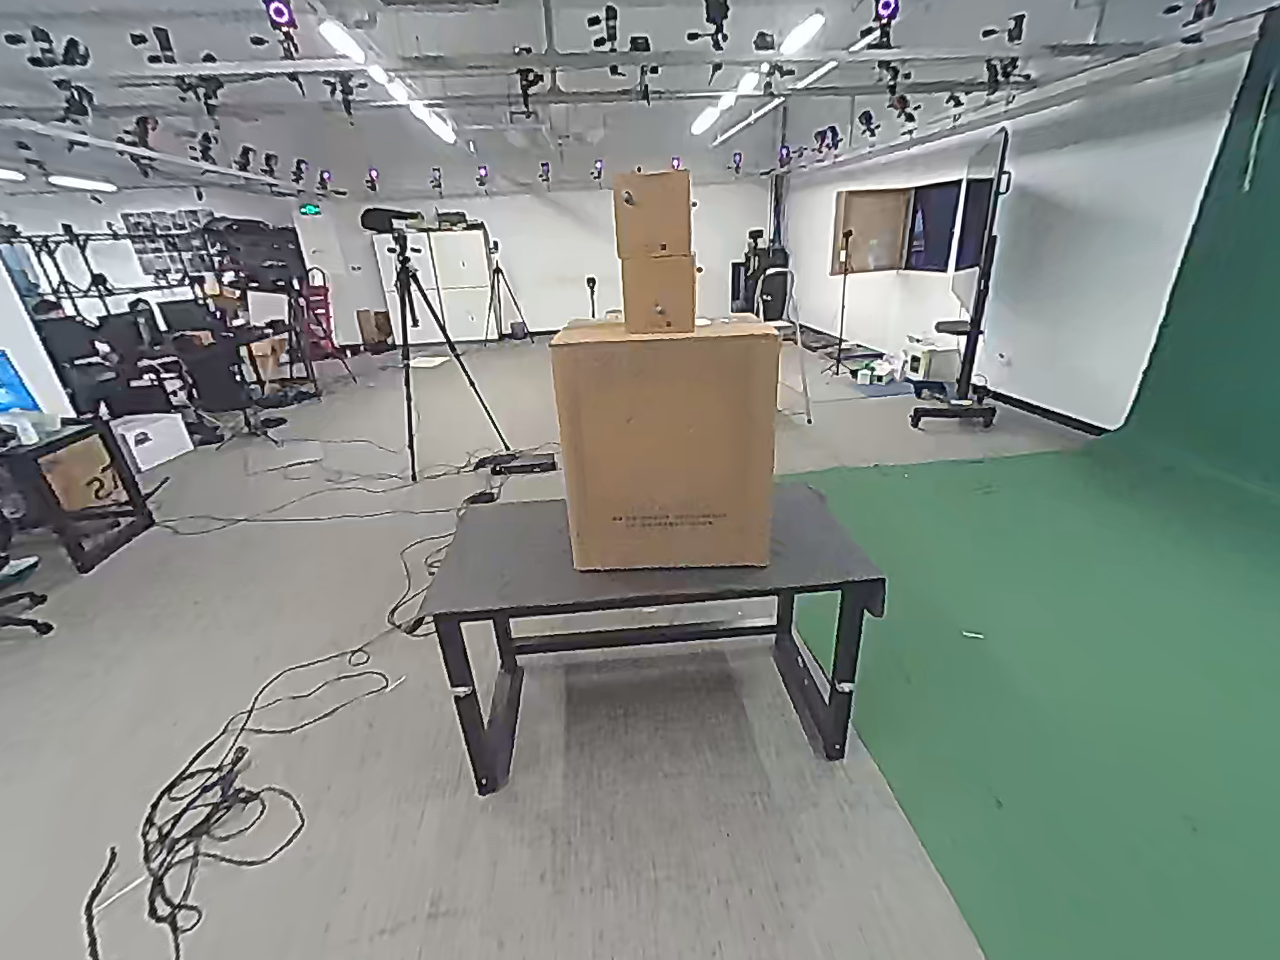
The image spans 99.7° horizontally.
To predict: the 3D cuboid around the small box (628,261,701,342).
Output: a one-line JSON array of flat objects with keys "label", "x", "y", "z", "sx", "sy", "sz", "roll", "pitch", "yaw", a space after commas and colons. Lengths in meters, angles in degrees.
[{"label": "small box", "x": 0.064, "y": -0.442, "z": 1.327, "sx": 0.168, "sy": 0.176, "sz": 0.179, "roll": 1, "pitch": 26, "yaw": 7}]
